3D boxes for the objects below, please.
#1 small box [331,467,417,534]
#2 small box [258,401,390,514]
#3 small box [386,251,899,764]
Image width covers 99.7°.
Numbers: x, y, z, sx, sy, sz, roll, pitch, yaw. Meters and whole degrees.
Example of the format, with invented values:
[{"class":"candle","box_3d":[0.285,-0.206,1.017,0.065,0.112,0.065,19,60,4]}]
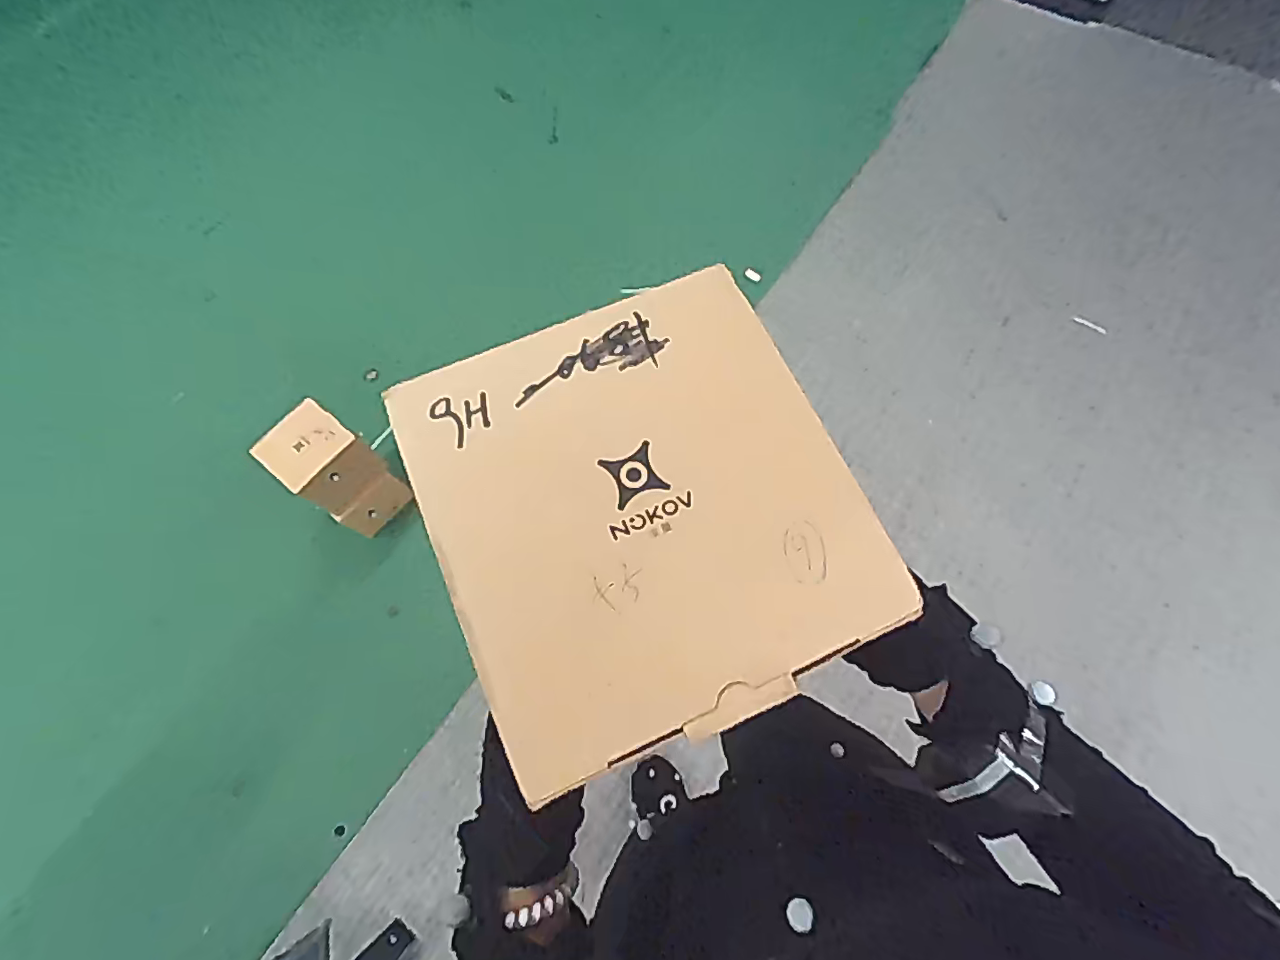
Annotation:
[{"class":"small box","box_3d":[-0.729,0.025,1.428,0.179,0.176,0.168,38,74,15]},{"class":"small box","box_3d":[-0.736,-0.046,1.280,0.168,0.176,0.179,37,73,14]},{"class":"small box","box_3d":[-0.004,0.019,0.301,0.168,0.176,0.179,-23,75,-8]}]
